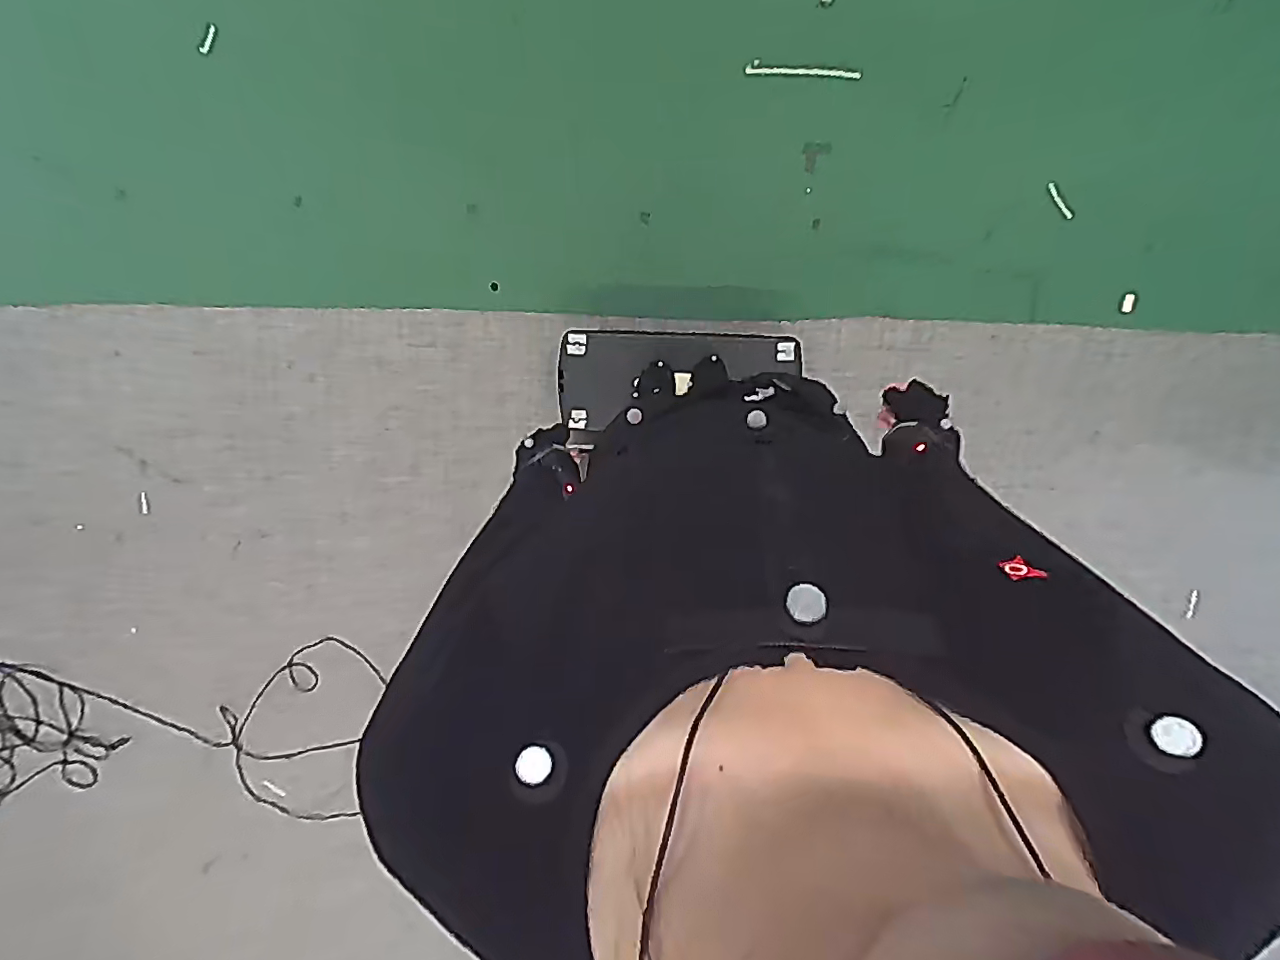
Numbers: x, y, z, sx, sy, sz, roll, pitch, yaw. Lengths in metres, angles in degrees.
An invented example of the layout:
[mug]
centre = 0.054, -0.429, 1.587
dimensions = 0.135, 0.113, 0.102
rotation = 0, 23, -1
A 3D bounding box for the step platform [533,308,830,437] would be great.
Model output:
[step platform]
centre = 0.094, -0.263, 1.334
dimensions = 0.684, 0.204, 0.286
rotation = 1, 103, 0
